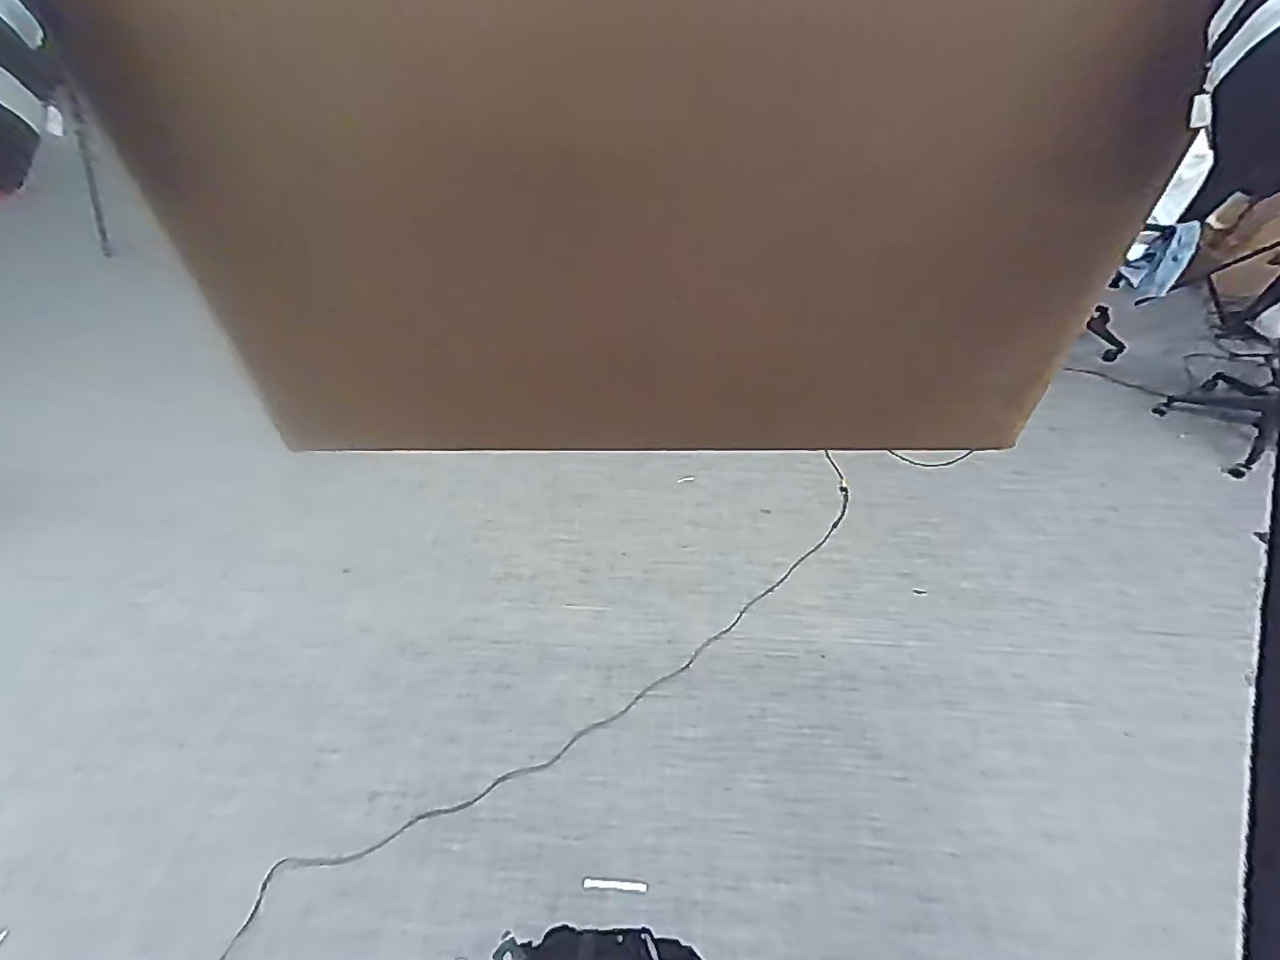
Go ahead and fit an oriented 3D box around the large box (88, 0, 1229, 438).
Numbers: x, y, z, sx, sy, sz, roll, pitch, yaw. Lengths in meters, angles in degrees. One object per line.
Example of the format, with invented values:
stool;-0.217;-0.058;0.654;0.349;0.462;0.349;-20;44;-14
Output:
large box;0.006;-0.234;0.320;0.408;0.320;0.320;0;43;0
